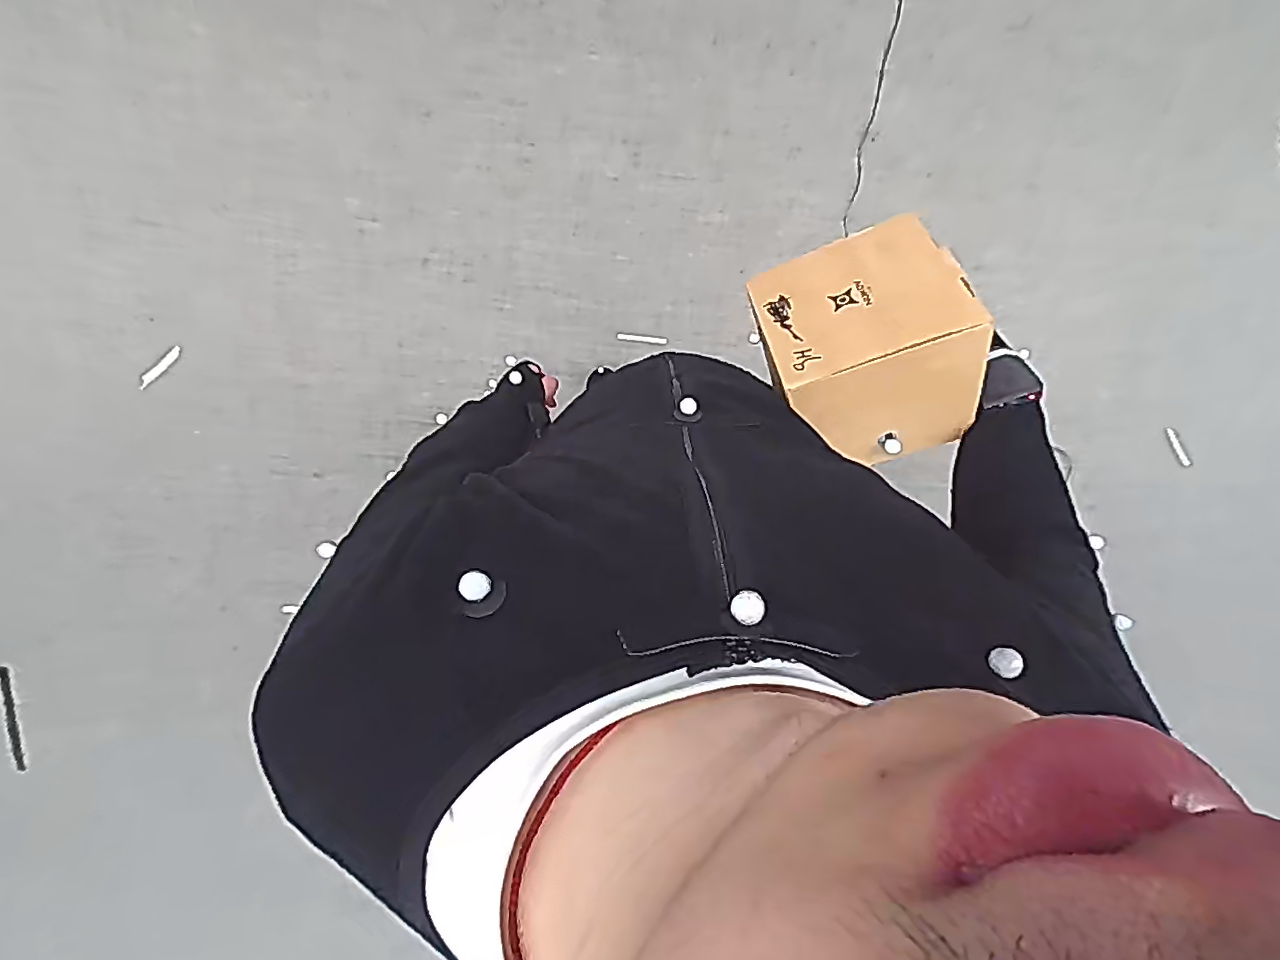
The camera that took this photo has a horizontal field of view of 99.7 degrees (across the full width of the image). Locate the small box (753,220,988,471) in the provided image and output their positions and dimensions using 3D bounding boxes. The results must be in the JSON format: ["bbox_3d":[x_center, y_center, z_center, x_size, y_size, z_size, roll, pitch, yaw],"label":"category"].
[{"bbox_3d":[0.238,-0.136,0.589,0.179,0.168,0.176,-18,144,14],"label":"small box"}]
